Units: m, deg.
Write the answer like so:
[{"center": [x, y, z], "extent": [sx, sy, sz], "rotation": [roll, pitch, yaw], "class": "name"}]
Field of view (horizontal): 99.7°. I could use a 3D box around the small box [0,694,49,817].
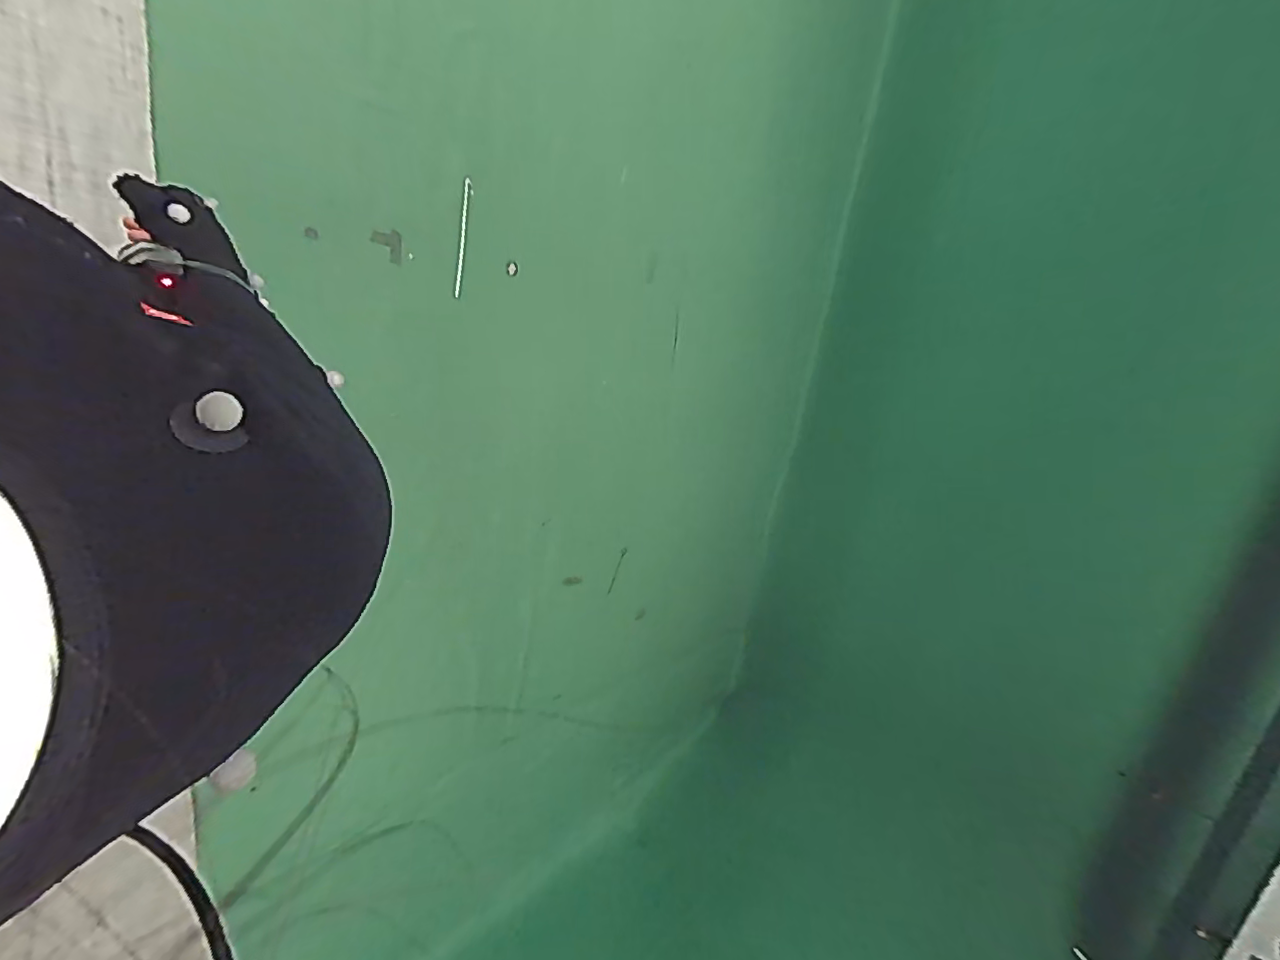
[{"center": [-1.238, 0.520, 0.981], "extent": [0.168, 0.176, 0.179], "rotation": [-29, 129, -41], "class": "small box"}]
